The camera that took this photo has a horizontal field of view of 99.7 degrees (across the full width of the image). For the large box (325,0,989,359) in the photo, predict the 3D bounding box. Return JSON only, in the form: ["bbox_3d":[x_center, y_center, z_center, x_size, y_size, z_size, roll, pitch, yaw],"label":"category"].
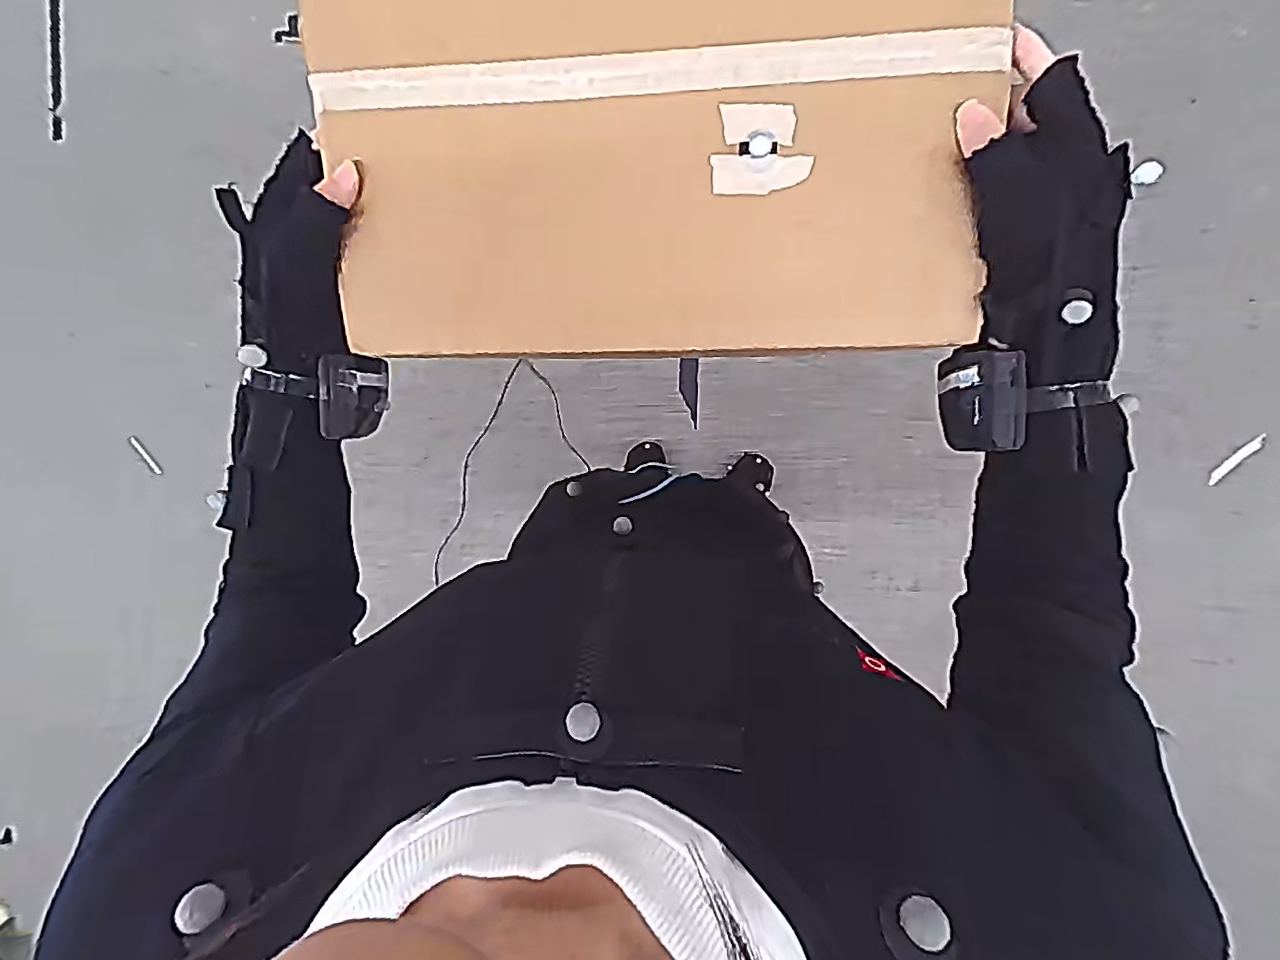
[{"bbox_3d":[0.012,-0.274,0.477,0.408,0.320,0.320,-1,103,4],"label":"large box"}]
